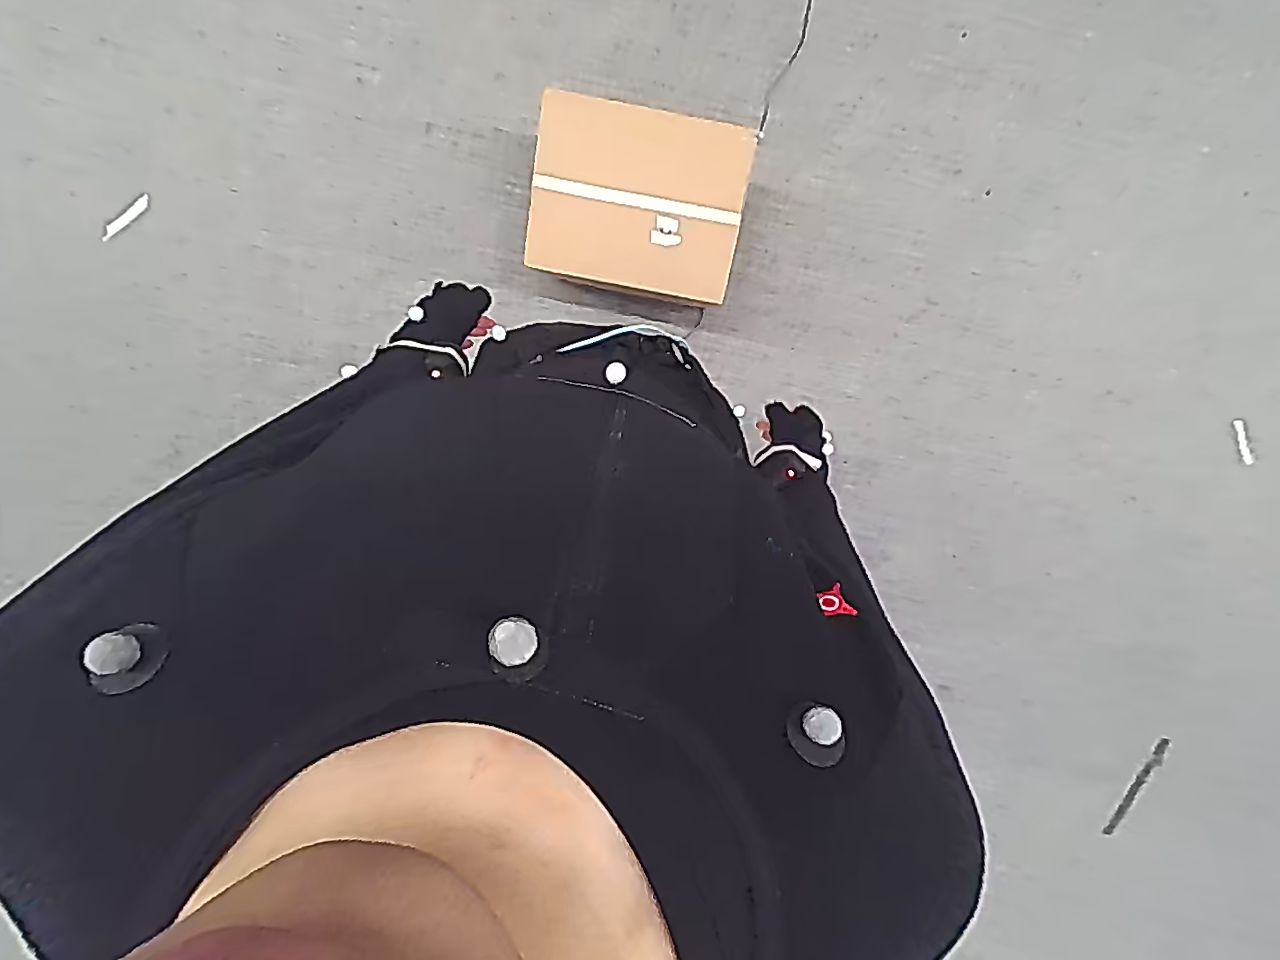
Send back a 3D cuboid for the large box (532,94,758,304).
[{"bbox_3d":[0.002,-0.582,1.192,0.408,0.320,0.320,10,107,-2],"label":"large box"}]
